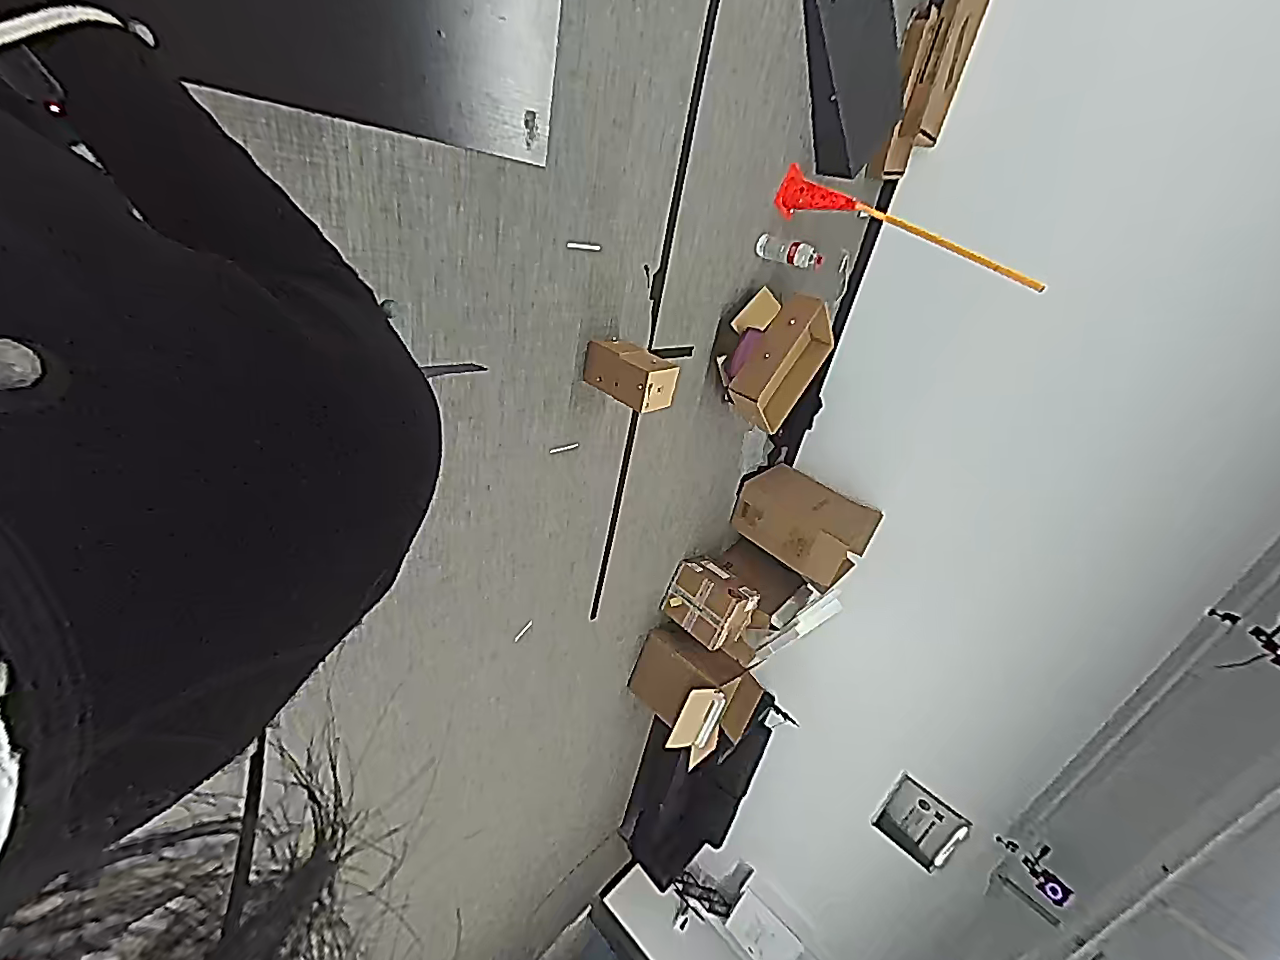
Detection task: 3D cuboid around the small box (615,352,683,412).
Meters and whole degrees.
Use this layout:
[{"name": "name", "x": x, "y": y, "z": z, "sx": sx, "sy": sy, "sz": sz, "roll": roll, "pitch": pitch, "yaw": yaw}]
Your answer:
[{"name": "small box", "x": 0.034, "y": -0.378, "z": 2.052, "sx": 0.179, "sy": 0.176, "sz": 0.168, "roll": -22, "pitch": 134, "yaw": -44}]

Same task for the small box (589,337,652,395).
[{"name": "small box", "x": -0.082, "y": -0.454, "z": 2.140, "sx": 0.168, "sy": 0.176, "sz": 0.179, "roll": -20, "pitch": 131, "yaw": -45}]
